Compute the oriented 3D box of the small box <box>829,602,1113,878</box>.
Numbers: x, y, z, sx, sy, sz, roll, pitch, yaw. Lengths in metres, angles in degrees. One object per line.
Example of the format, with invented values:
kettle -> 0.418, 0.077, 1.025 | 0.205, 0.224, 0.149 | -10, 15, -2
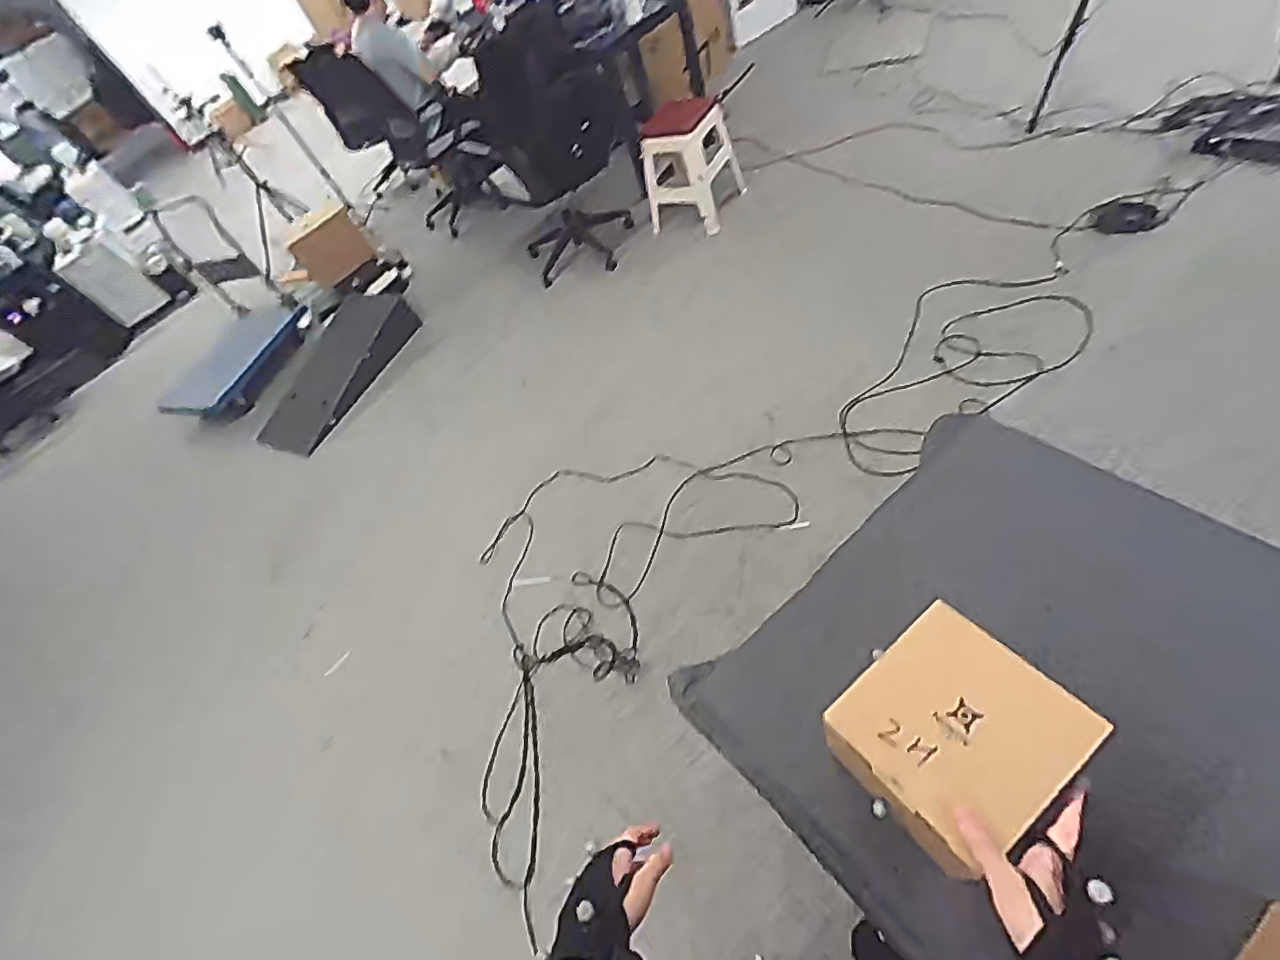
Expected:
small box -> 0.314, 0.265, 0.554 | 0.179, 0.176, 0.168 | -39, 51, -10
